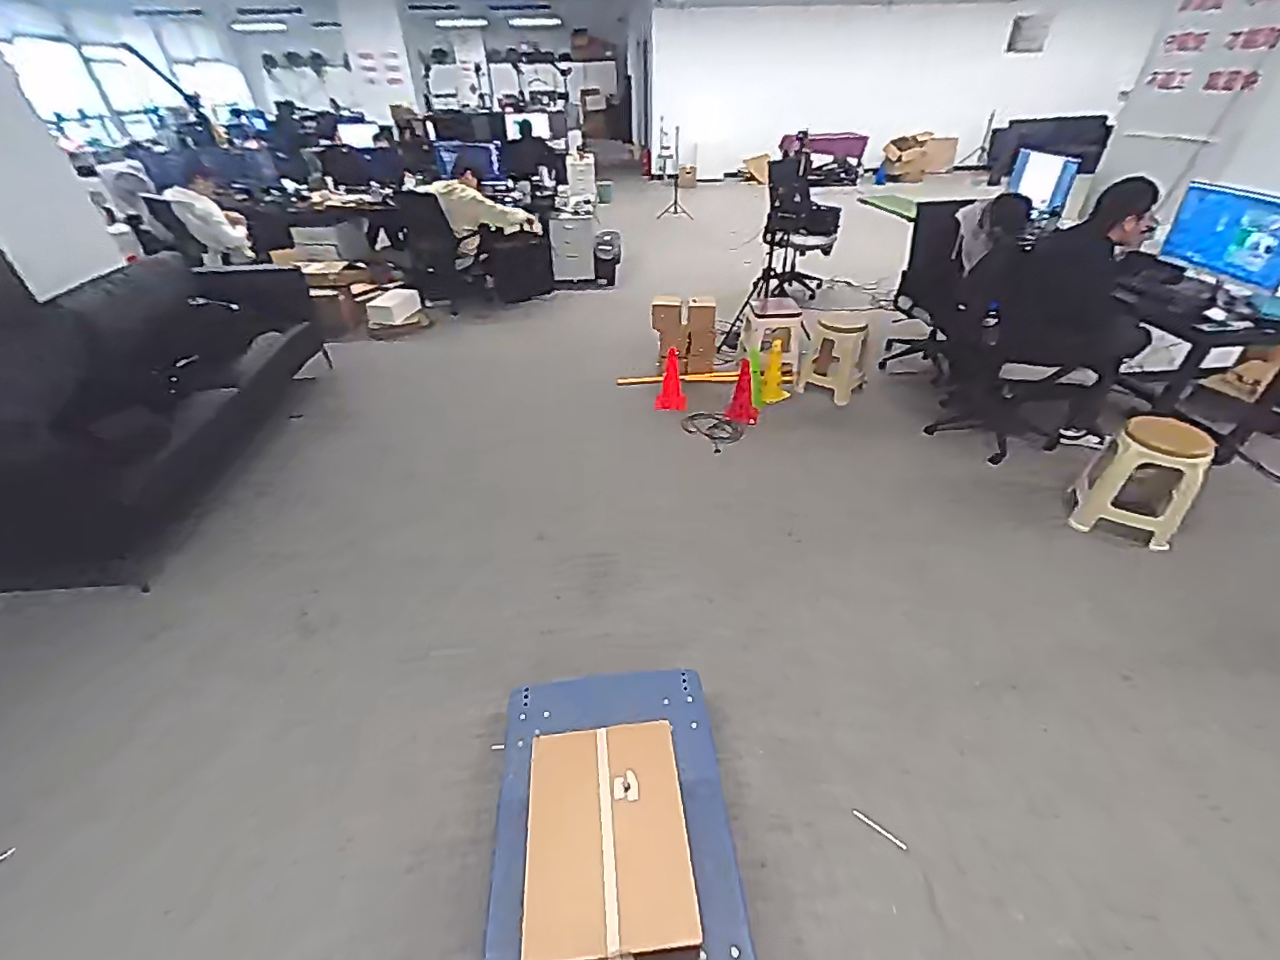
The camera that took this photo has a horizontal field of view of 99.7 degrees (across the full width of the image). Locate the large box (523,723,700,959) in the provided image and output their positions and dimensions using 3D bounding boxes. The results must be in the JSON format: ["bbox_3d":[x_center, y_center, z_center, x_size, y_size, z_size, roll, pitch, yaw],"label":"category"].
[{"bbox_3d":[-0.063,0.813,1.168,0.320,0.320,0.408,-5,37,-4],"label":"large box"}]
